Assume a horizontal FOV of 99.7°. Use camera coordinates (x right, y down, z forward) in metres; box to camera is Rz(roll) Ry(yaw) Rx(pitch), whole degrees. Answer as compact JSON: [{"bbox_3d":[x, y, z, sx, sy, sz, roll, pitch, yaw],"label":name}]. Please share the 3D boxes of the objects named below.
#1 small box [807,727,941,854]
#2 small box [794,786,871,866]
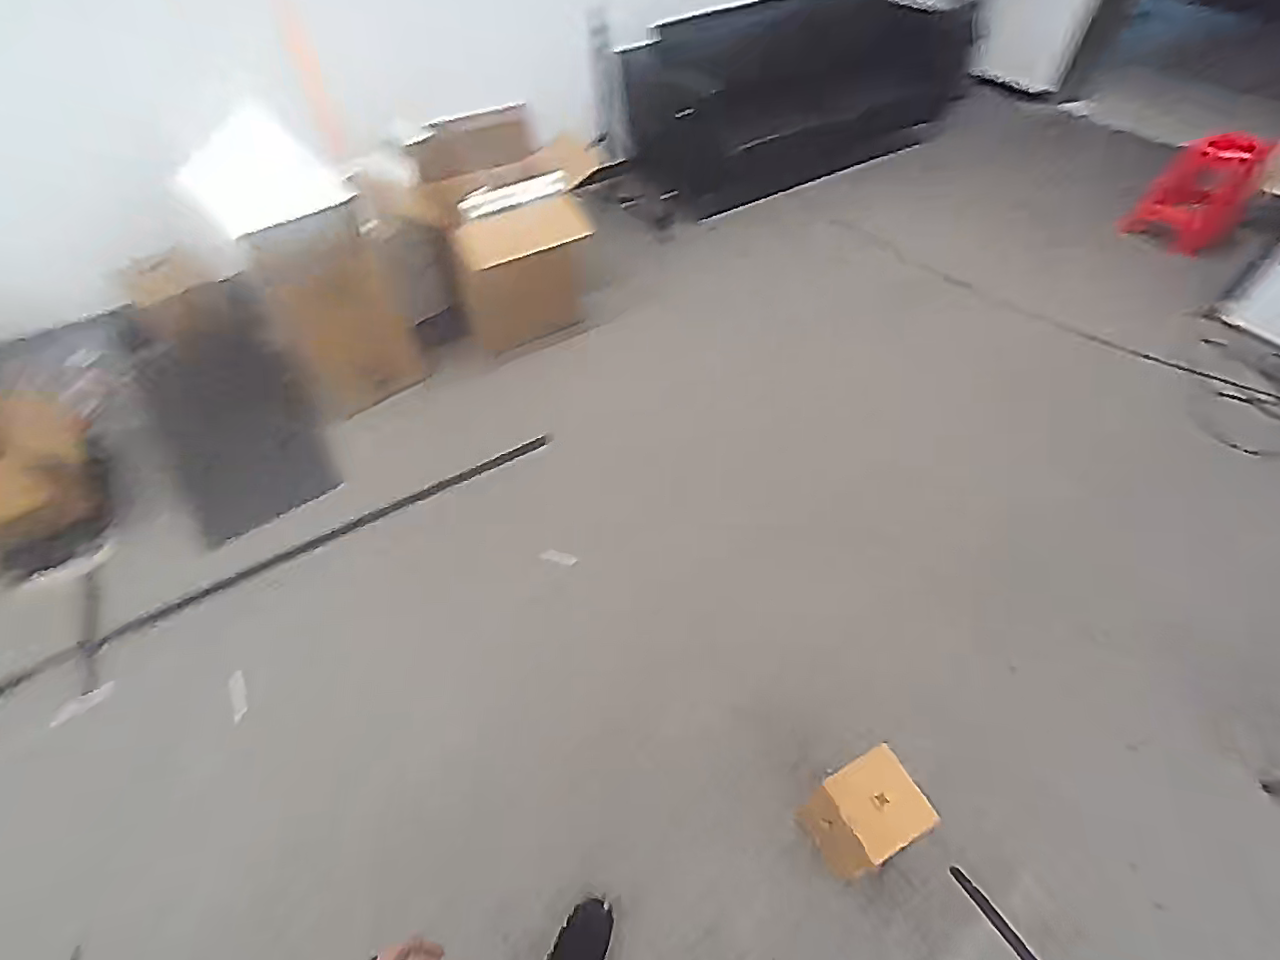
[{"bbox_3d":[0.485,0.661,1.150,0.179,0.176,0.168,-22,54,-15],"label":"small box"},{"bbox_3d":[0.489,0.771,1.270,0.179,0.176,0.168,-24,54,-17],"label":"small box"}]
